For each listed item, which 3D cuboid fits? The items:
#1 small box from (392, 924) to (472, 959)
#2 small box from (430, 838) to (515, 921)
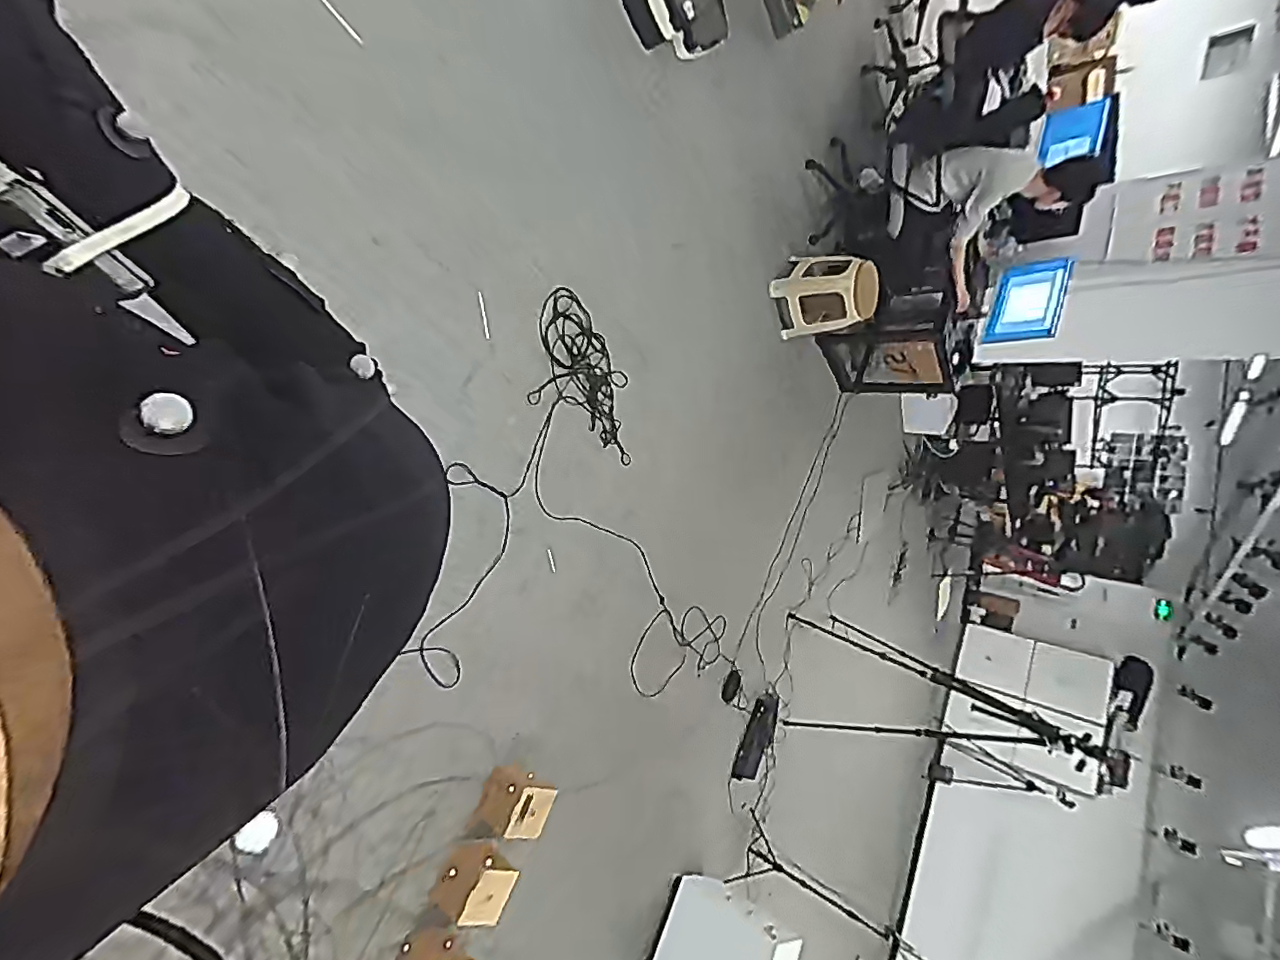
[{"bbox_3d":[-0.682,1.560,1.724,0.179,0.176,0.168,45,64,-44],"label":"small box"},{"bbox_3d":[-0.564,1.337,1.818,0.179,0.176,0.168,45,64,-43],"label":"small box"}]
